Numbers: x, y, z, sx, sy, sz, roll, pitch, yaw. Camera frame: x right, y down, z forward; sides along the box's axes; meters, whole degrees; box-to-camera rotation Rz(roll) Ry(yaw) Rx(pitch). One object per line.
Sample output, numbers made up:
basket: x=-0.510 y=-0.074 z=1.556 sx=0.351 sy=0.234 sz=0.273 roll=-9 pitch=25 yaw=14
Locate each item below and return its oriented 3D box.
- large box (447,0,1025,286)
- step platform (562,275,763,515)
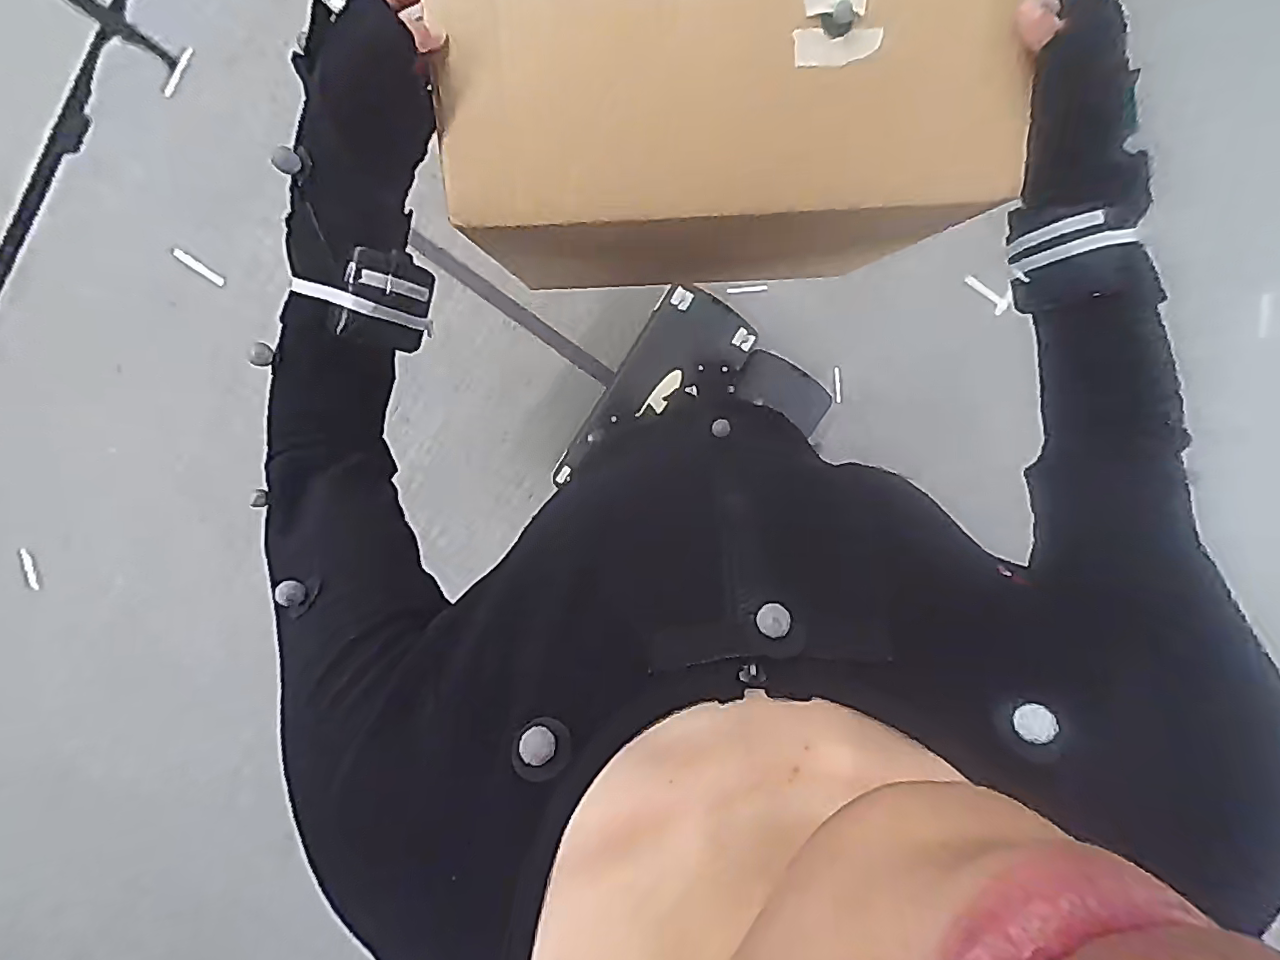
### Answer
large box: x=0.059 y=-0.379 z=0.510 sx=0.408 sy=0.320 sz=0.320 roll=-3 pitch=102 yaw=-1
step platform: x=0.055 y=-0.240 z=1.540 sx=0.286 sy=0.204 sz=0.684 roll=31 pitch=97 yaw=-7
